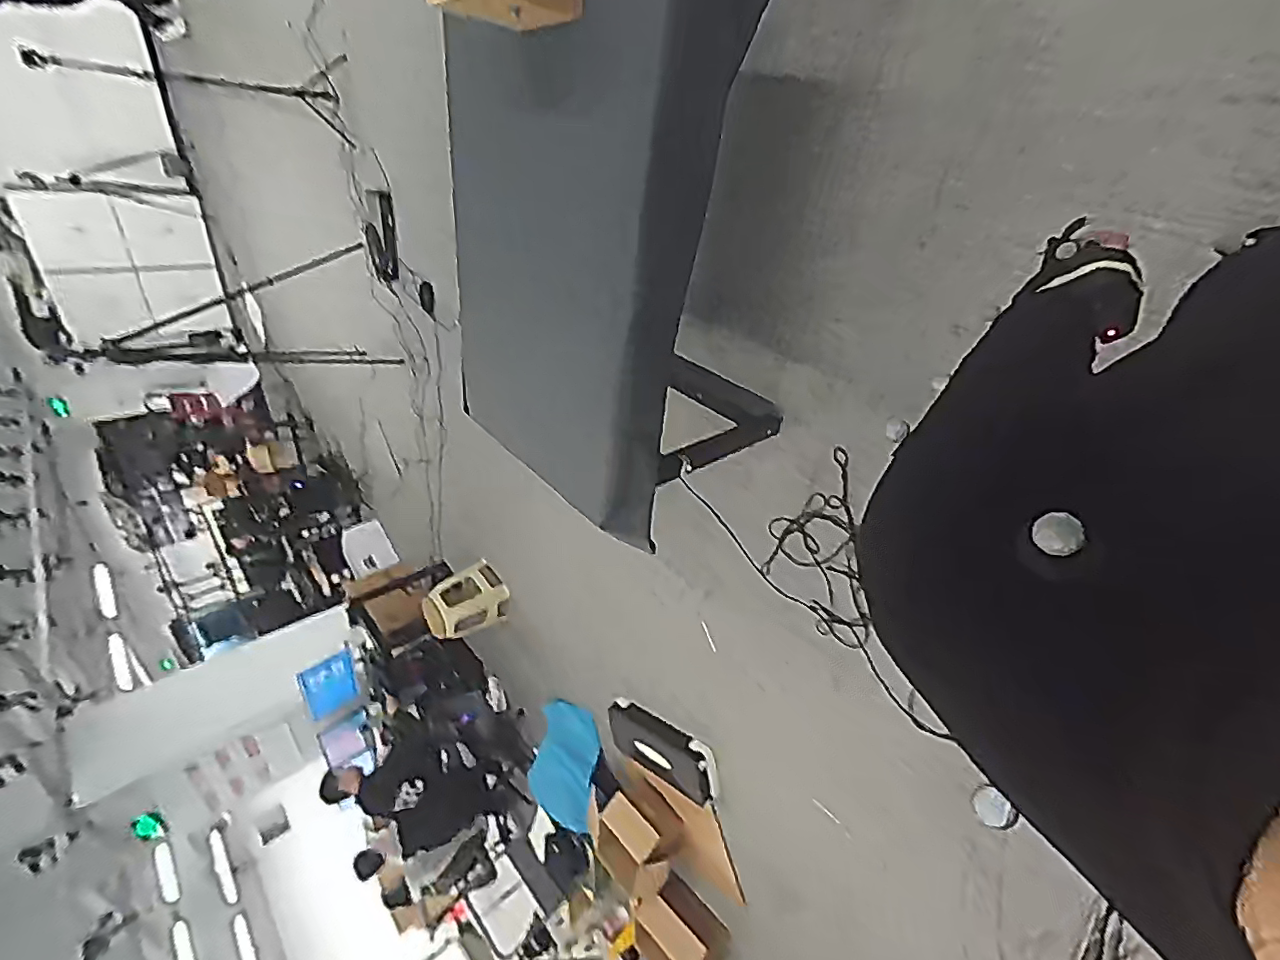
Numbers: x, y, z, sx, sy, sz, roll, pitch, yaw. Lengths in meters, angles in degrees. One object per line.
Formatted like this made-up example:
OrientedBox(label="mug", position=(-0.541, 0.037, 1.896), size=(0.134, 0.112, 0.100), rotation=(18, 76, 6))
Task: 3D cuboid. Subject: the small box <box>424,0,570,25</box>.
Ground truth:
OrientedBox(label="small box", position=(-0.202, -0.779, 0.771), size=(0.179, 0.176, 0.168), rotation=(30, 128, 39))
